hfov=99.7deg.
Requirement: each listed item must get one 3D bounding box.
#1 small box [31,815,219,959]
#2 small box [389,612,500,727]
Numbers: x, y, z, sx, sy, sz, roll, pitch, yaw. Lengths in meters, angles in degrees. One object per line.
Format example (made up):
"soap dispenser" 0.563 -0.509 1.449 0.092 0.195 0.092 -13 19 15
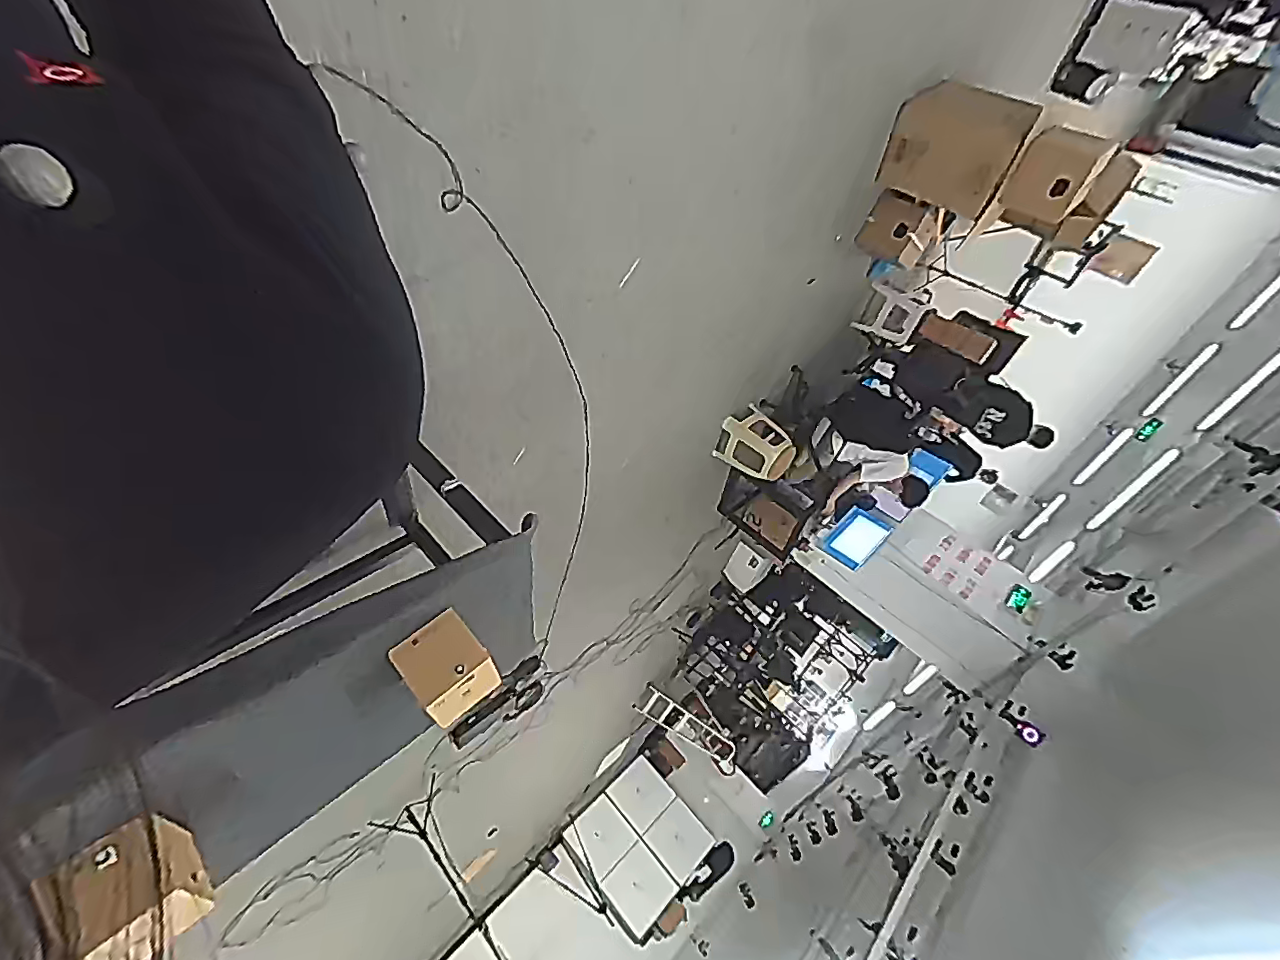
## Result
"small box" -0.894 0.731 0.949 0.168 0.176 0.179 -34 149 -35
"small box" -0.456 0.442 1.275 0.168 0.176 0.179 -38 154 -28
